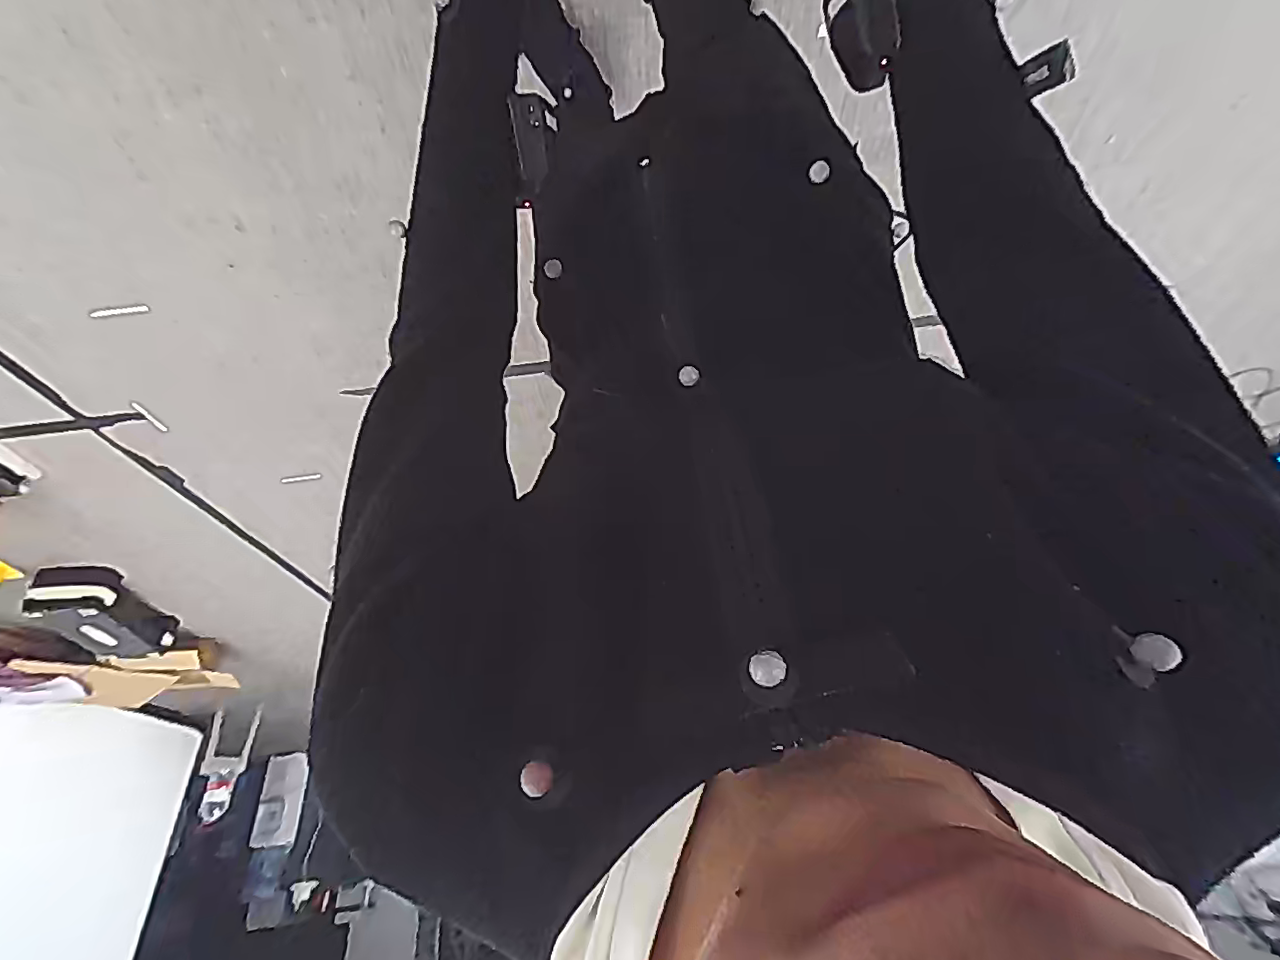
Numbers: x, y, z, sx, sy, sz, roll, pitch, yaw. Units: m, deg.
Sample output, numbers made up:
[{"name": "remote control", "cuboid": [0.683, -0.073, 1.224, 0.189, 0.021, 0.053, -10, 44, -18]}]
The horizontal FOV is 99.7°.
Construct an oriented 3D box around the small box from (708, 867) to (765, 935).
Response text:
[{"name": "small box", "cuboid": [0.345, 1.527, 1.970, 0.168, 0.176, 0.179, -9, 145, 0]}]
